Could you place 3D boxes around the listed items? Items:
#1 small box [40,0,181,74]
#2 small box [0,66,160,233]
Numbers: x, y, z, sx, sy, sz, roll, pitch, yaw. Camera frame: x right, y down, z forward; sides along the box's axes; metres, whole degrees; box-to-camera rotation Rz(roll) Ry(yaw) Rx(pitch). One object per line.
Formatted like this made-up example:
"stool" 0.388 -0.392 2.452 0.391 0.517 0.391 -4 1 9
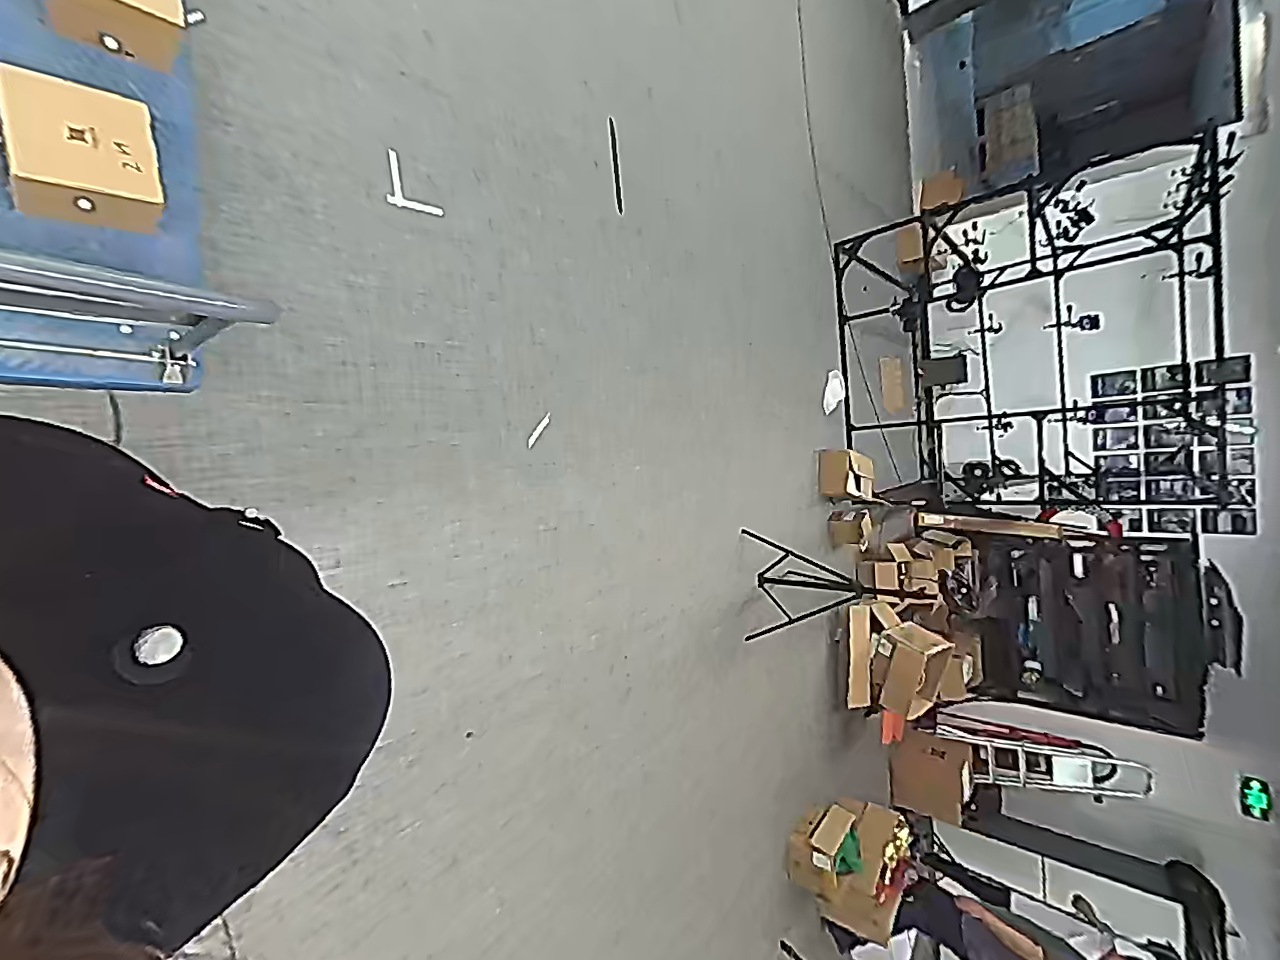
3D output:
"small box" -0.935 -0.876 0.948 0.168 0.176 0.179 -7 95 -48
"small box" -0.951 -0.540 0.916 0.179 0.176 0.168 -11 97 -48
